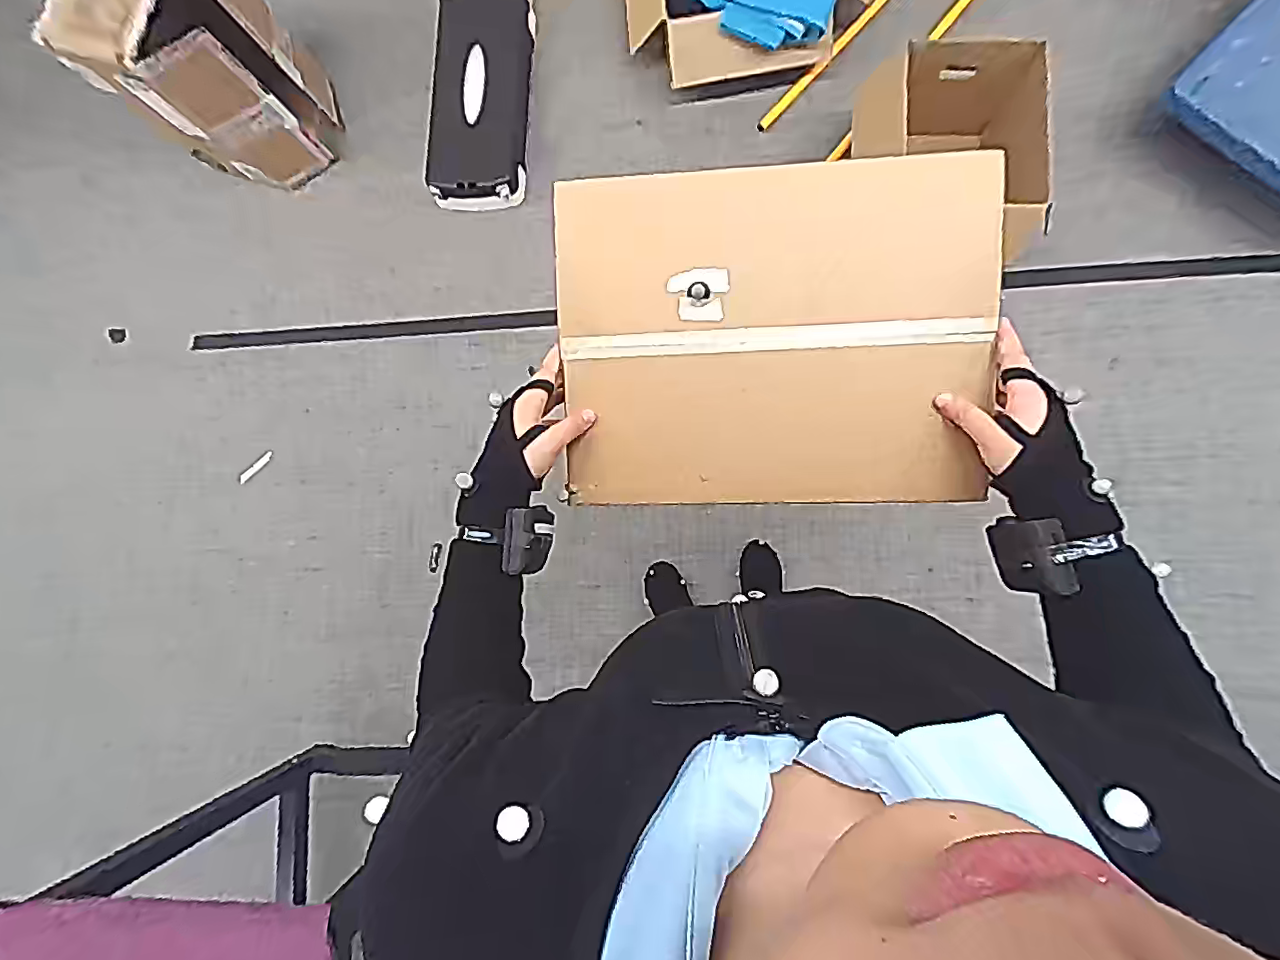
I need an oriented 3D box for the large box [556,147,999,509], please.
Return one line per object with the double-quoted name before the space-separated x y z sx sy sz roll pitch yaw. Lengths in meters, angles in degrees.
"large box" 0.142 -0.147 0.654 0.408 0.320 0.320 -2 95 7
